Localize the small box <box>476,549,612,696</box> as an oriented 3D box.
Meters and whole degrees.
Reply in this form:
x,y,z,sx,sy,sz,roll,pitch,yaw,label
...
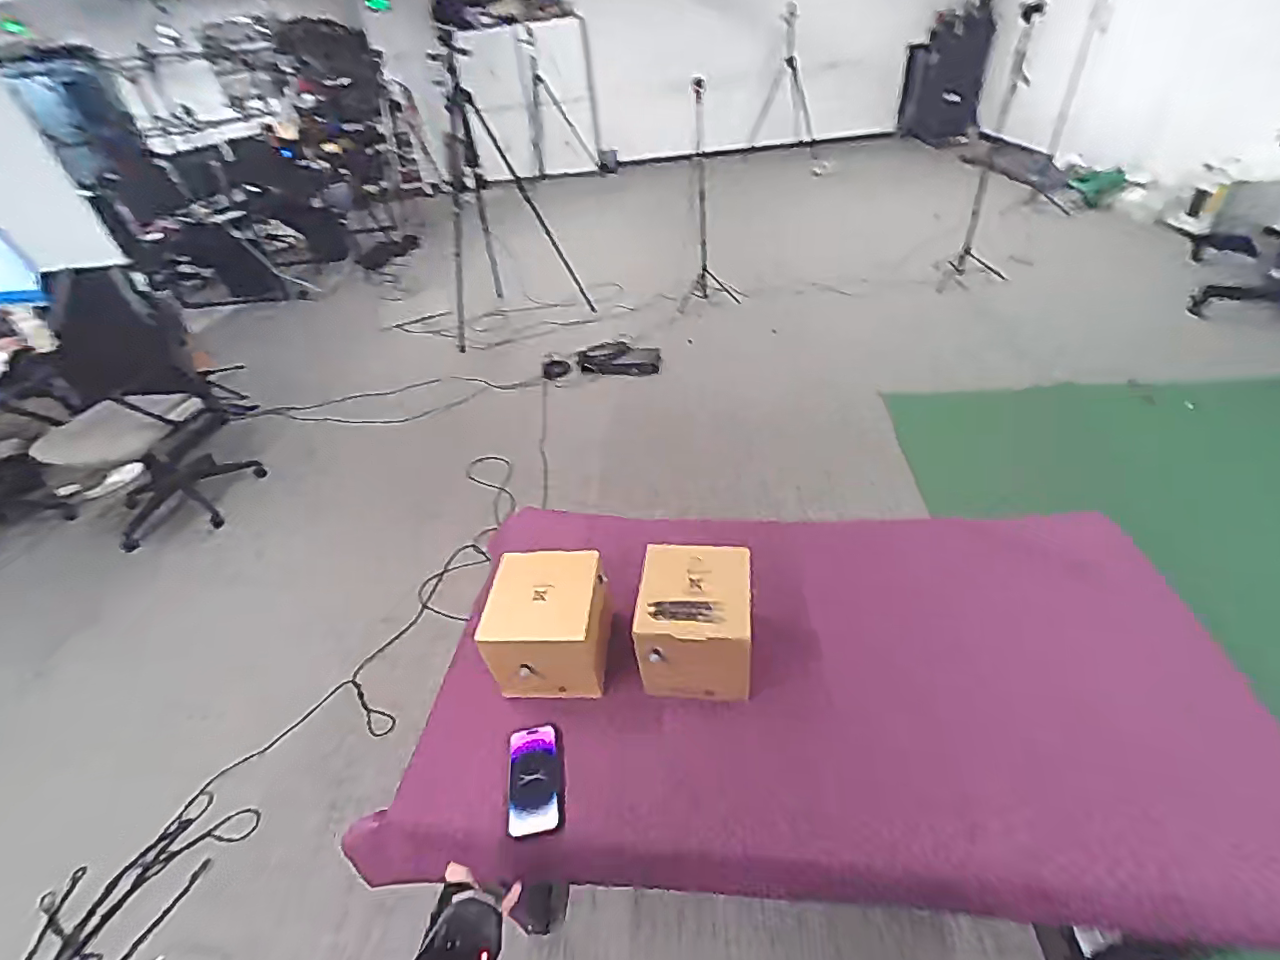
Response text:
x,y,z,sx,sy,sz,roll,pitch,yaw,label
-0.143,0.235,0.885,0.168,0.176,0.179,-3,38,7,small box
